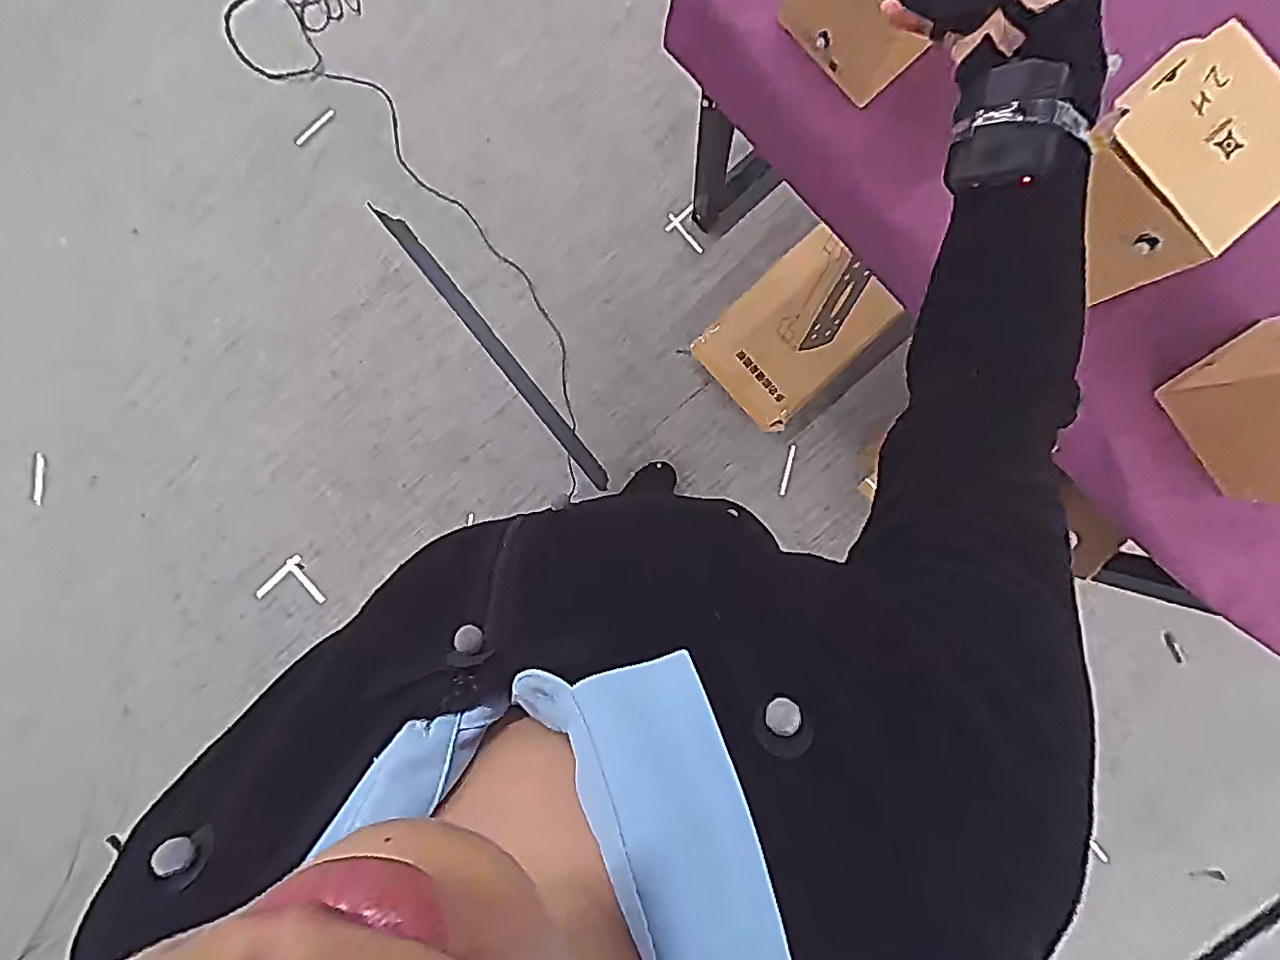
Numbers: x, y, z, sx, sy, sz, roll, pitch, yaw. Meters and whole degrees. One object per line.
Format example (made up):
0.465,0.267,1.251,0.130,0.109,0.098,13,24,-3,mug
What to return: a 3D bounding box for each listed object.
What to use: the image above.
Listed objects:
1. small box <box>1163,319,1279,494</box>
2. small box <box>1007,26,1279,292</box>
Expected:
0.784,-0.092,0.624,0.168,0.176,0.179,-35,90,4,small box
0.590,-0.344,0.627,0.168,0.176,0.179,-42,89,1,small box
